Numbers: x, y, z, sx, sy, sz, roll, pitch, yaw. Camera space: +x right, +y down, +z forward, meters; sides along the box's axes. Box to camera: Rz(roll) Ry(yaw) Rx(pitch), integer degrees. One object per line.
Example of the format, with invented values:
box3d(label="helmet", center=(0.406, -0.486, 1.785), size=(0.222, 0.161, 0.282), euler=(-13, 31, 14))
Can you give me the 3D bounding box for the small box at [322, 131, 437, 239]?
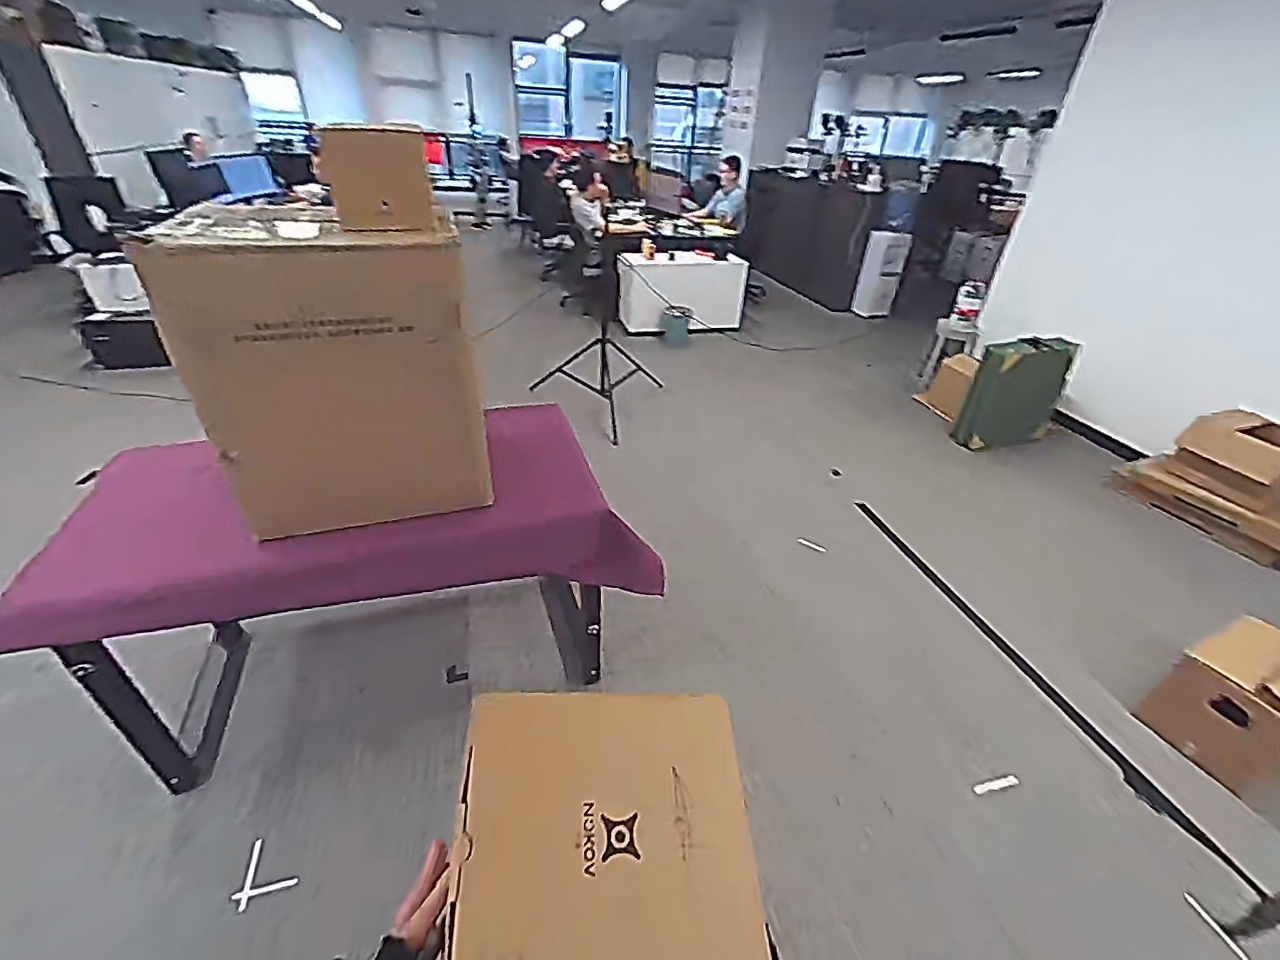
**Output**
box3d(label="small box", center=(-0.505, -0.586, 1.078), size=(0.179, 0.176, 0.168), euler=(-8, 36, -16))
